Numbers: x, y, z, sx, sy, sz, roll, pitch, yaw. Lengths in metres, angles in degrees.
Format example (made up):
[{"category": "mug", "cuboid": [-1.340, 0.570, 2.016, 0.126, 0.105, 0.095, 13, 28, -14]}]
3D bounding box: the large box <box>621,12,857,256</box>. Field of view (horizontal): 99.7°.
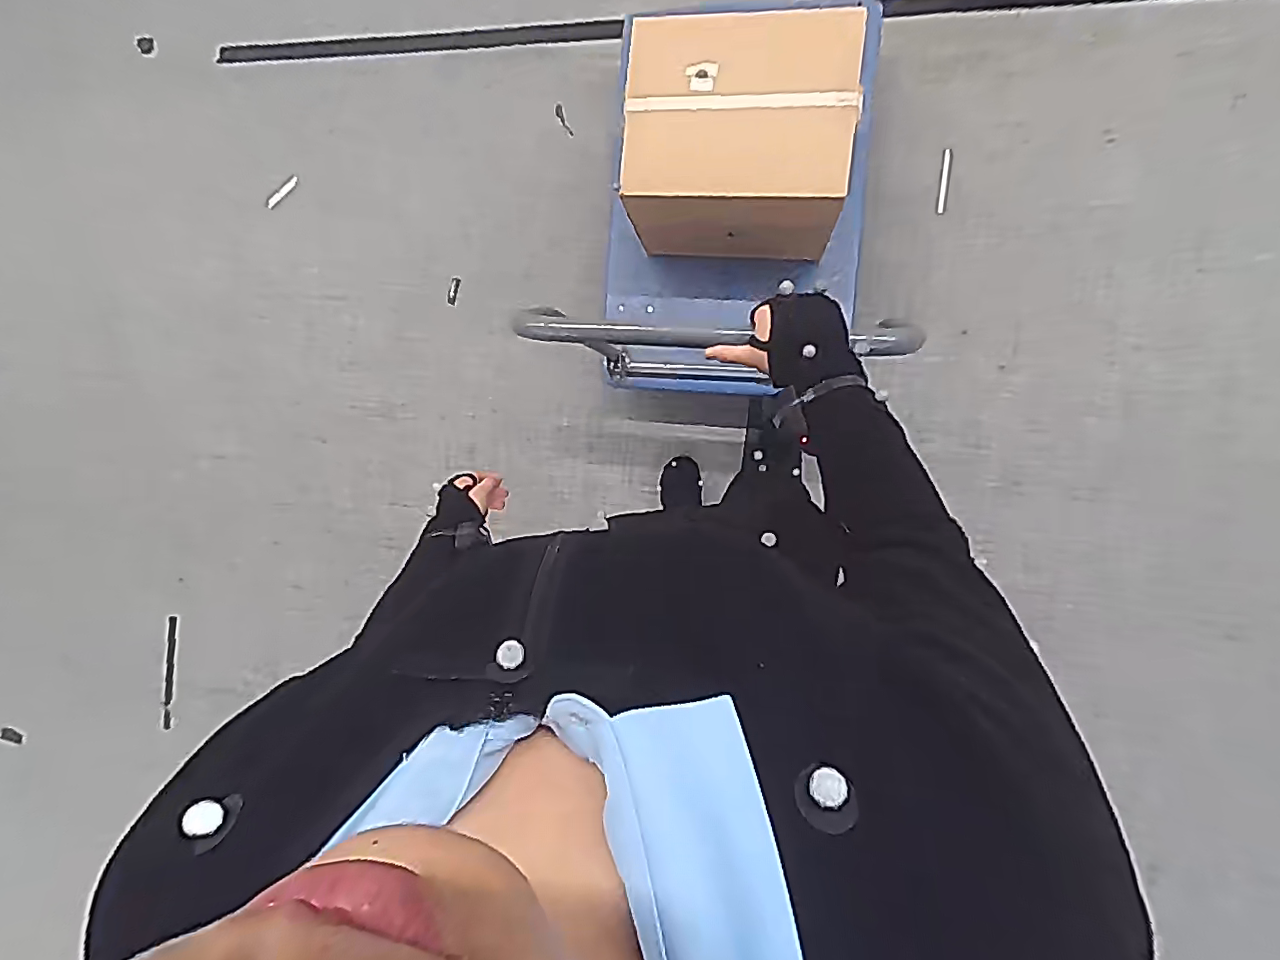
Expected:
[{"category": "large box", "cuboid": [0.198, -0.668, 1.113, 0.408, 0.320, 0.320, 5, 93, 11]}]
